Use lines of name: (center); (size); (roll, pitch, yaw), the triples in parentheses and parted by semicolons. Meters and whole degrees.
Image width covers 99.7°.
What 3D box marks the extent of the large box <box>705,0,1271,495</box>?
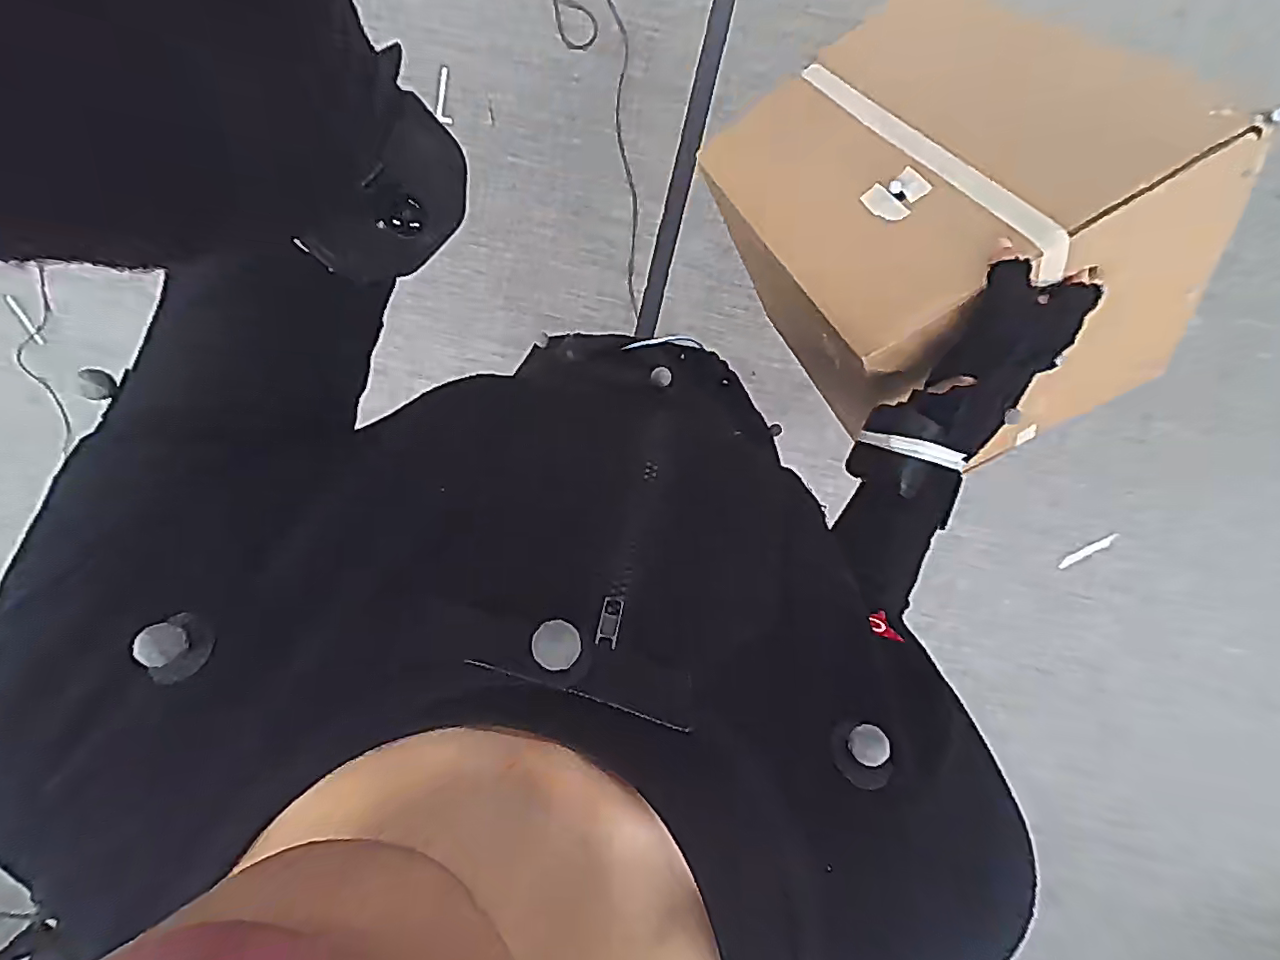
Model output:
large box: (0.331, -0.261, 0.647); (0.320, 0.408, 0.320); (-31, 144, 14)
